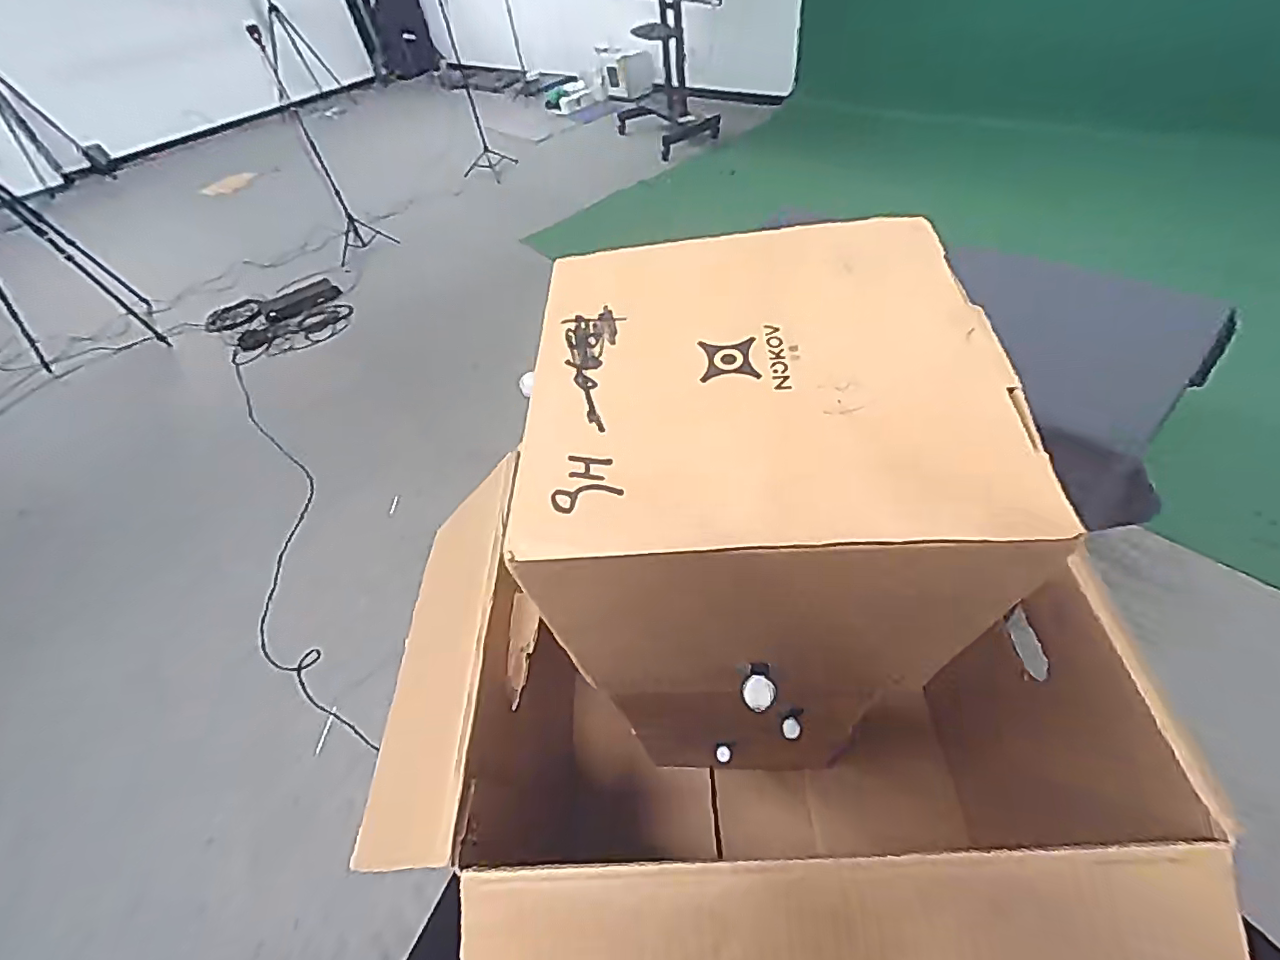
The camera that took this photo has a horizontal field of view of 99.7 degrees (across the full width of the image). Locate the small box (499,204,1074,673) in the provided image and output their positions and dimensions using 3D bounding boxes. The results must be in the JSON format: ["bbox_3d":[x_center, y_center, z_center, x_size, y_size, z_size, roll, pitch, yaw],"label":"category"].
[{"bbox_3d":[0.051,-0.008,0.273,0.179,0.176,0.168,-2,55,6],"label":"small box"}]
